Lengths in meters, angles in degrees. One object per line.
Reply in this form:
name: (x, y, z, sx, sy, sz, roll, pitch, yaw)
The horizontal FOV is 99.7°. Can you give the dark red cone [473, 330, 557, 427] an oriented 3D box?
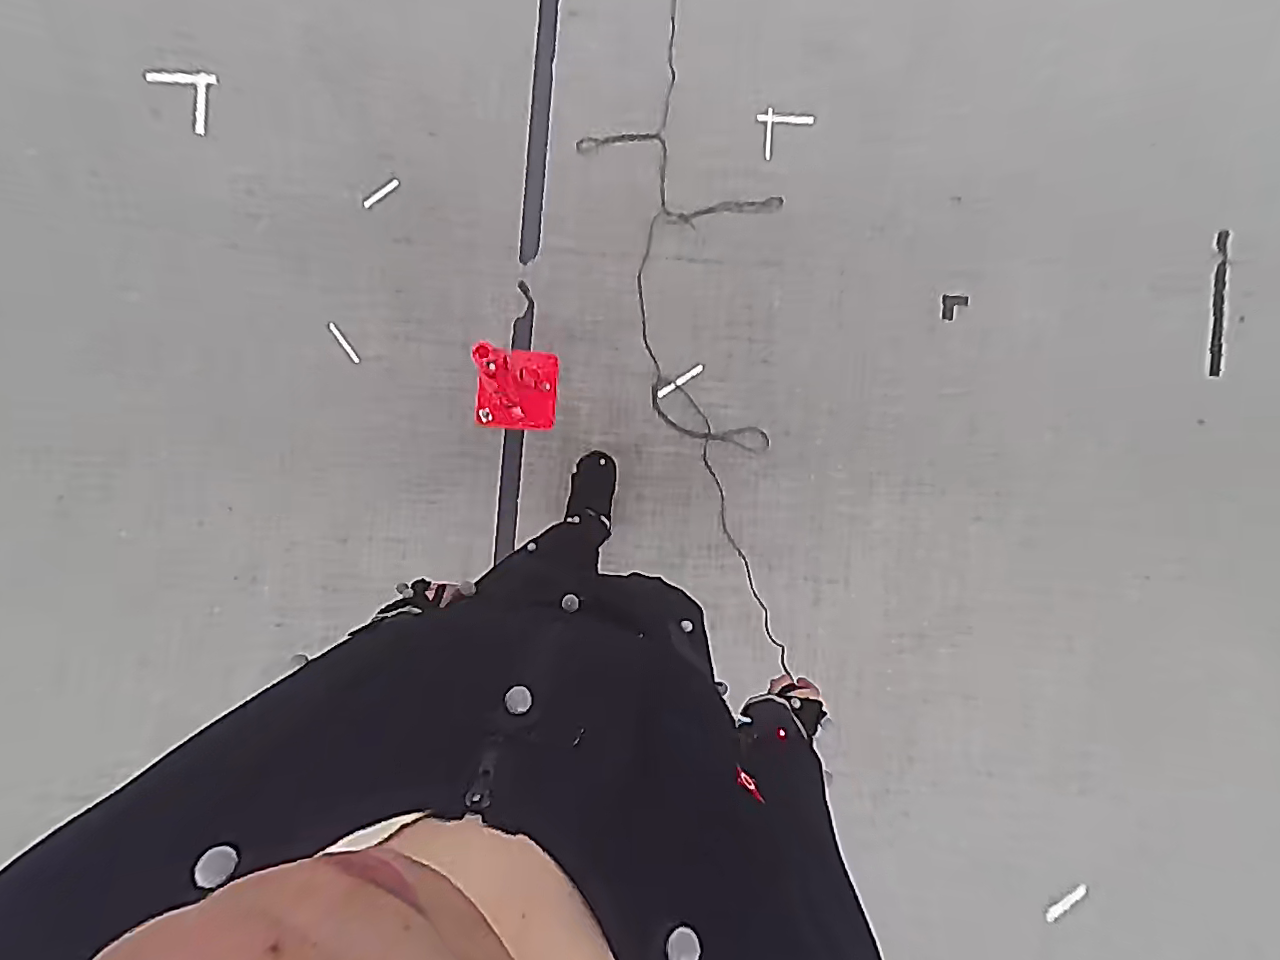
dark red cone: (-0.300, -0.242, 1.178, 0.201, 0.394, 0.202, 3, 88, -3)
